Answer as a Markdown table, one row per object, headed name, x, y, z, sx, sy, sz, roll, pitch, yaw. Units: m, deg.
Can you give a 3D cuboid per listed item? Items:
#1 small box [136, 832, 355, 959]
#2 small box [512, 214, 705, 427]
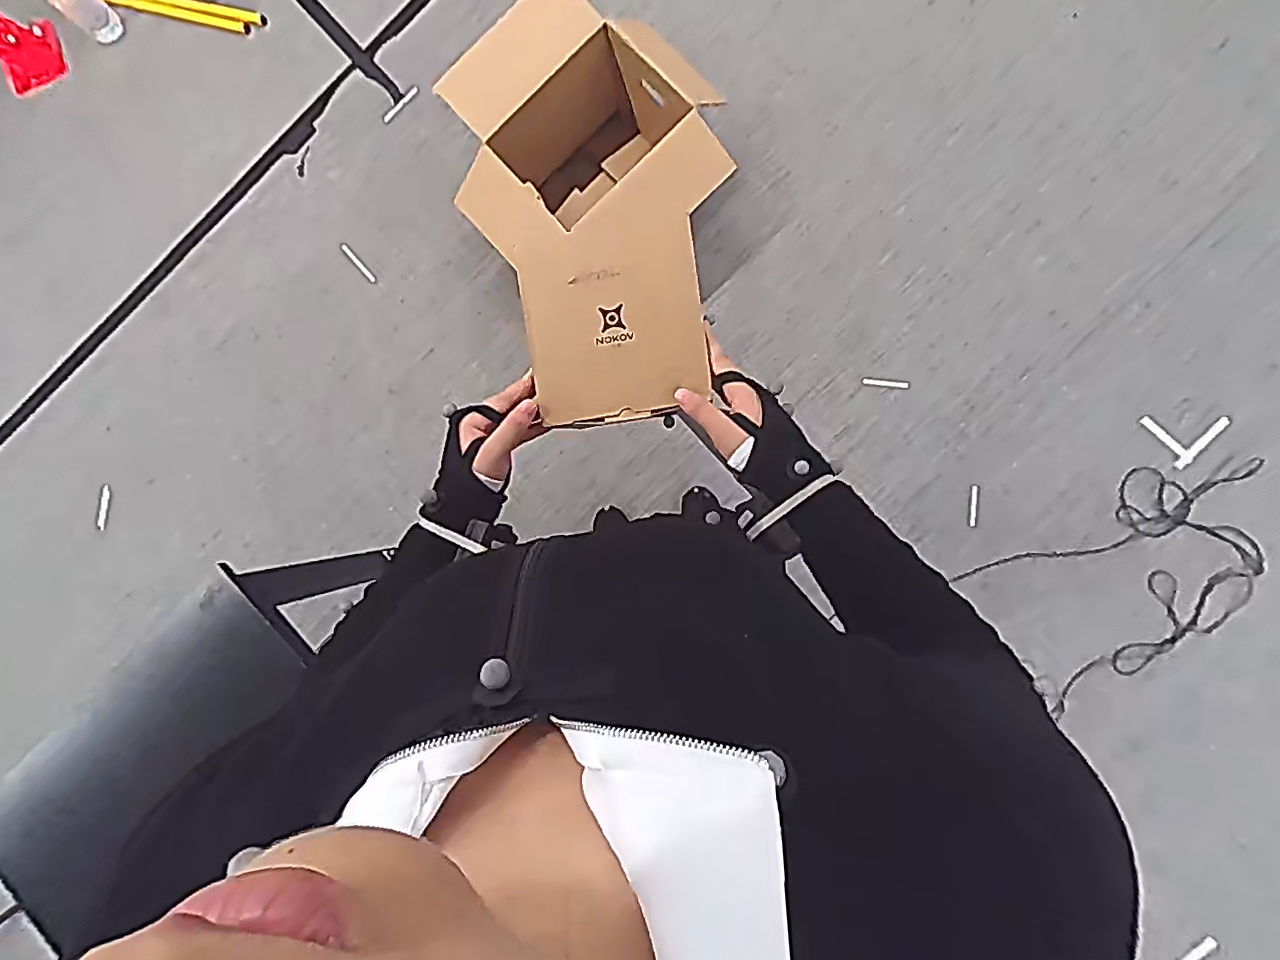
| name | x | y | z | sx | sy | sz | roll | pitch | yaw |
| --- | --- | --- | --- | --- | --- | --- | --- | --- | --- |
| small box | -0.538 | 0.639 | 0.736 | 0.168 | 0.176 | 0.179 | -42 | 86 | 3 |
| small box | -0.022 | -0.155 | 0.585 | 0.168 | 0.176 | 0.179 | -8 | 95 | 5 |
